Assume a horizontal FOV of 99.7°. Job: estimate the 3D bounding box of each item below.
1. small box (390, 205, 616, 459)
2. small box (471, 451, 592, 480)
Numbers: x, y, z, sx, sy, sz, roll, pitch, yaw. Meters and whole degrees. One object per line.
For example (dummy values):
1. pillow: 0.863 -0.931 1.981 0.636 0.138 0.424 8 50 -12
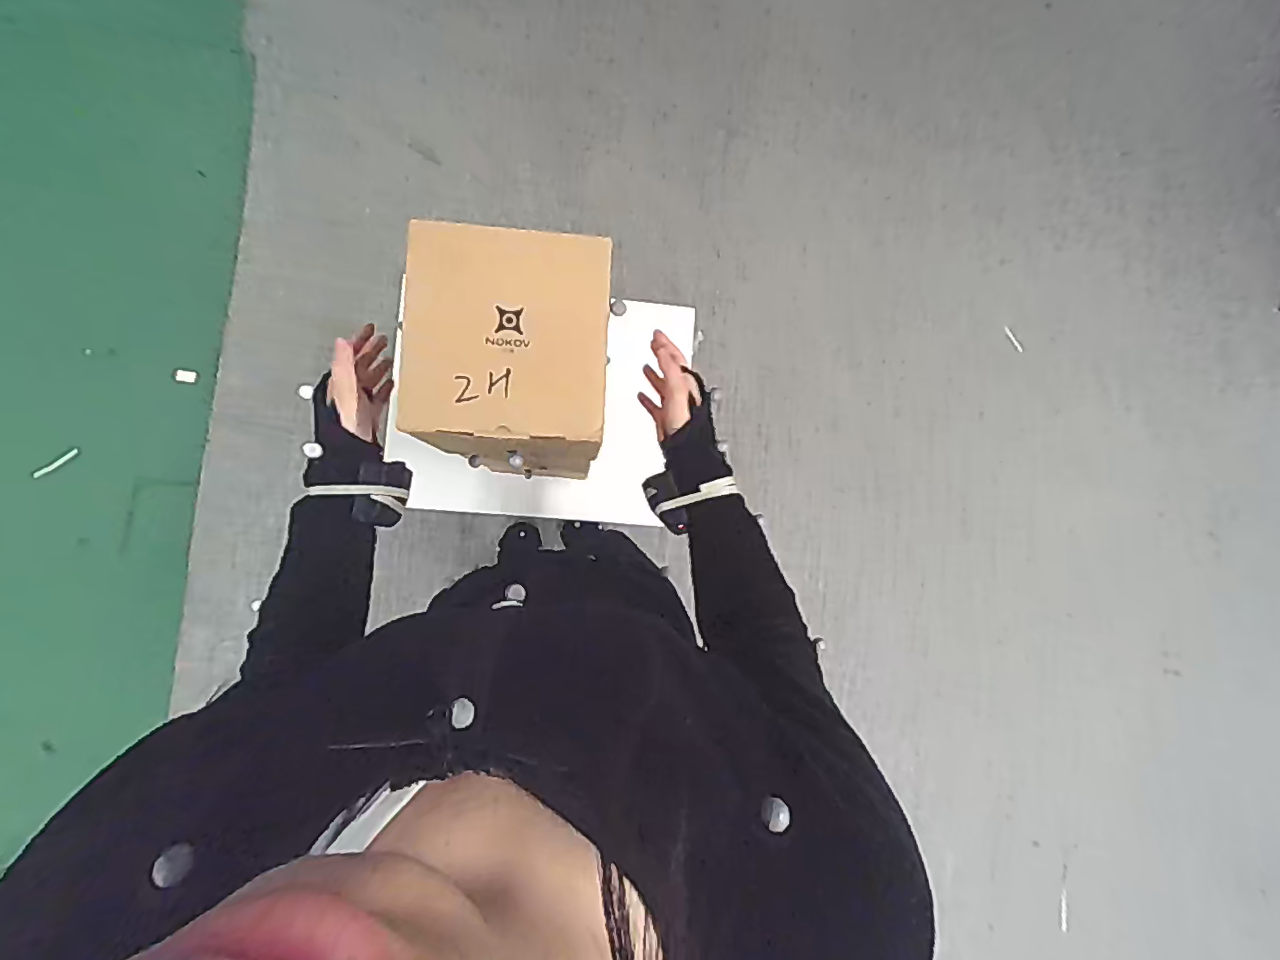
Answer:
1. small box: -0.114 -0.120 0.504 0.168 0.176 0.179 3 86 -6
2. small box: -0.153 -0.100 0.830 0.168 0.176 0.179 5 85 -6
